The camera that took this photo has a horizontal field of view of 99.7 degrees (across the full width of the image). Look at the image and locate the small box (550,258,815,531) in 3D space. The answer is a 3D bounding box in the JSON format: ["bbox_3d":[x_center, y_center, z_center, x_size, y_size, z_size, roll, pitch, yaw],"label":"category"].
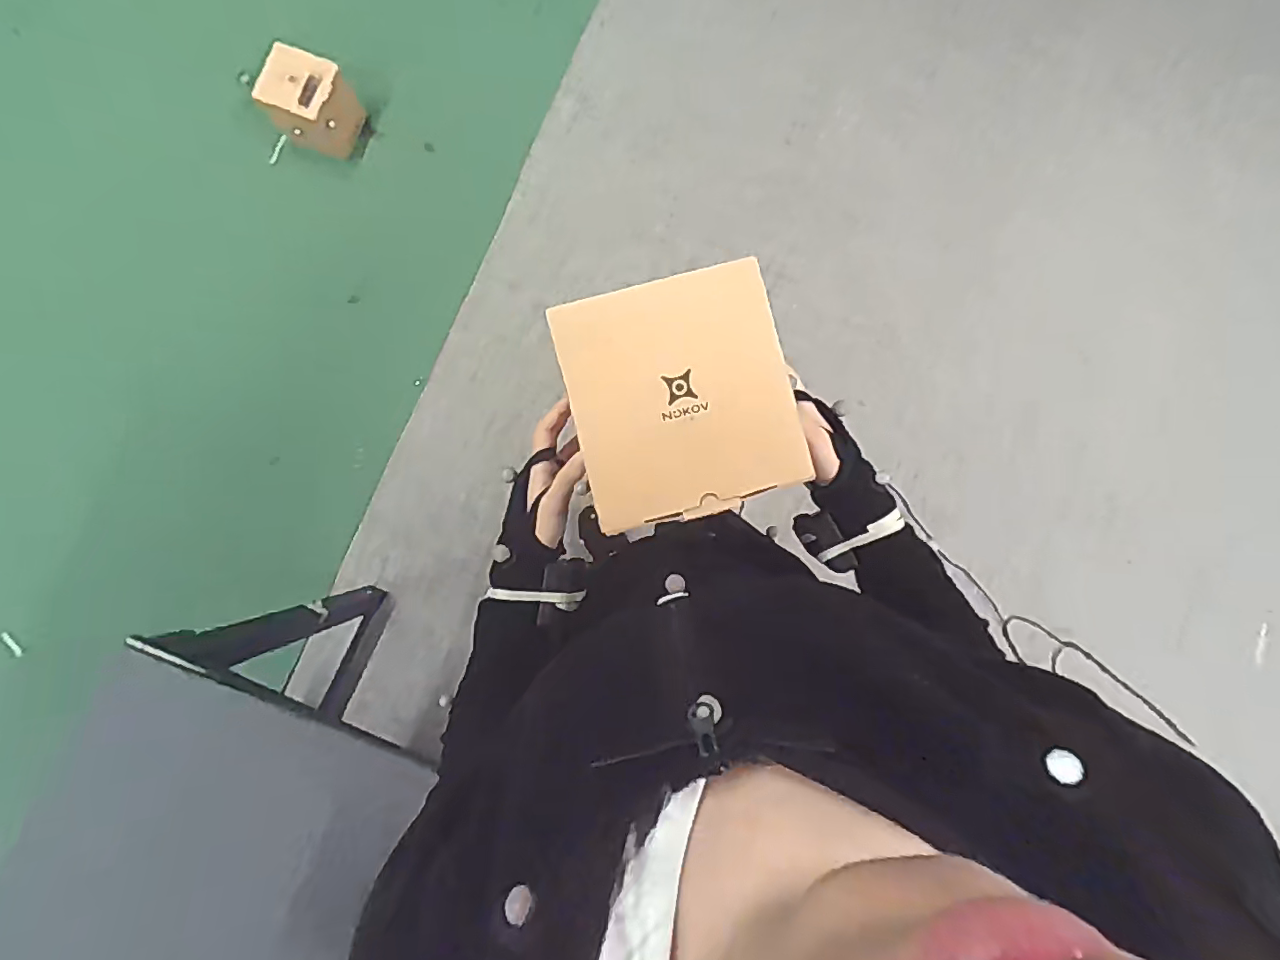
[{"bbox_3d":[0.027,-0.061,0.478,0.168,0.176,0.179,-15,89,-2],"label":"small box"}]
